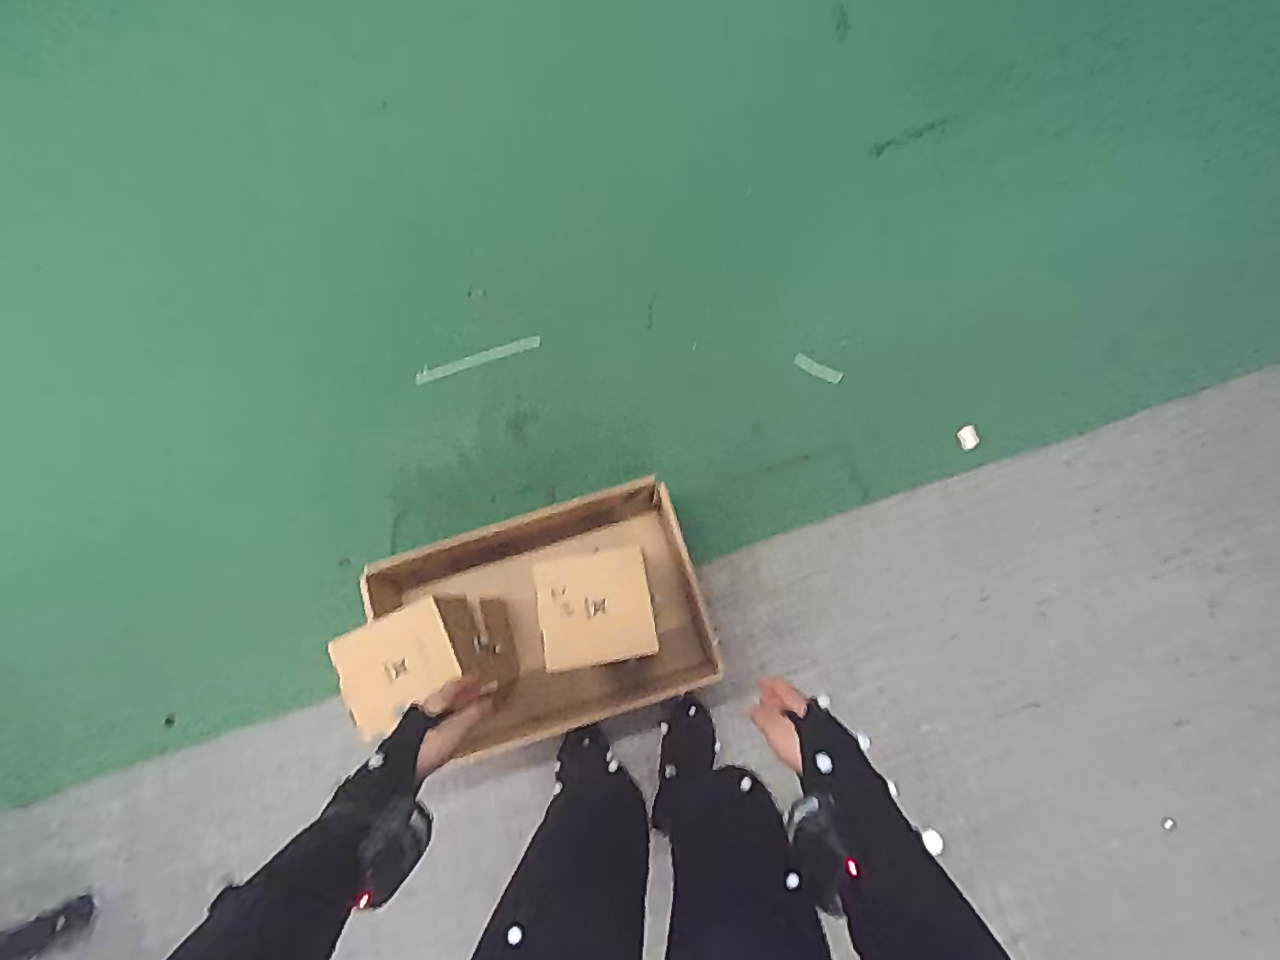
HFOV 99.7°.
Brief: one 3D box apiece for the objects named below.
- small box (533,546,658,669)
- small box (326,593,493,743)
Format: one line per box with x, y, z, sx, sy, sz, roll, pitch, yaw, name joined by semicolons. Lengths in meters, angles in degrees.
-0.069;0.207;0.907;0.179;0.176;0.168;-10;78;0;small box
-0.367;0.299;0.891;0.179;0.176;0.168;-25;80;-6;small box
